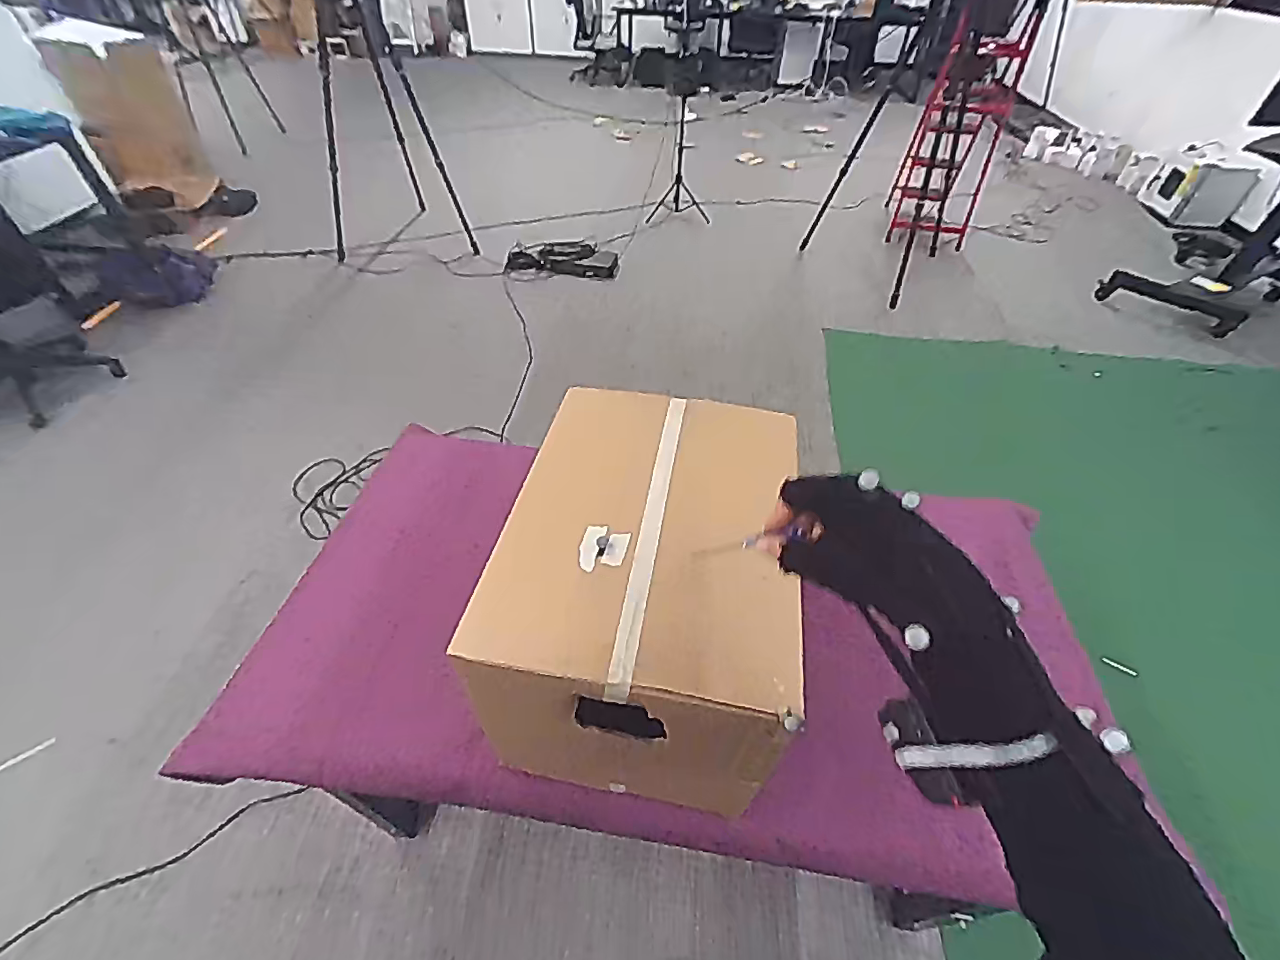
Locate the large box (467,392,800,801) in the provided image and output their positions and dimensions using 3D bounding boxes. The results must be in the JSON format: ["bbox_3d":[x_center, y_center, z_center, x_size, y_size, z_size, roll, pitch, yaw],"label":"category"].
[{"bbox_3d":[0.015,0.142,0.721,0.320,0.320,0.408,9,47,6],"label":"large box"}]
